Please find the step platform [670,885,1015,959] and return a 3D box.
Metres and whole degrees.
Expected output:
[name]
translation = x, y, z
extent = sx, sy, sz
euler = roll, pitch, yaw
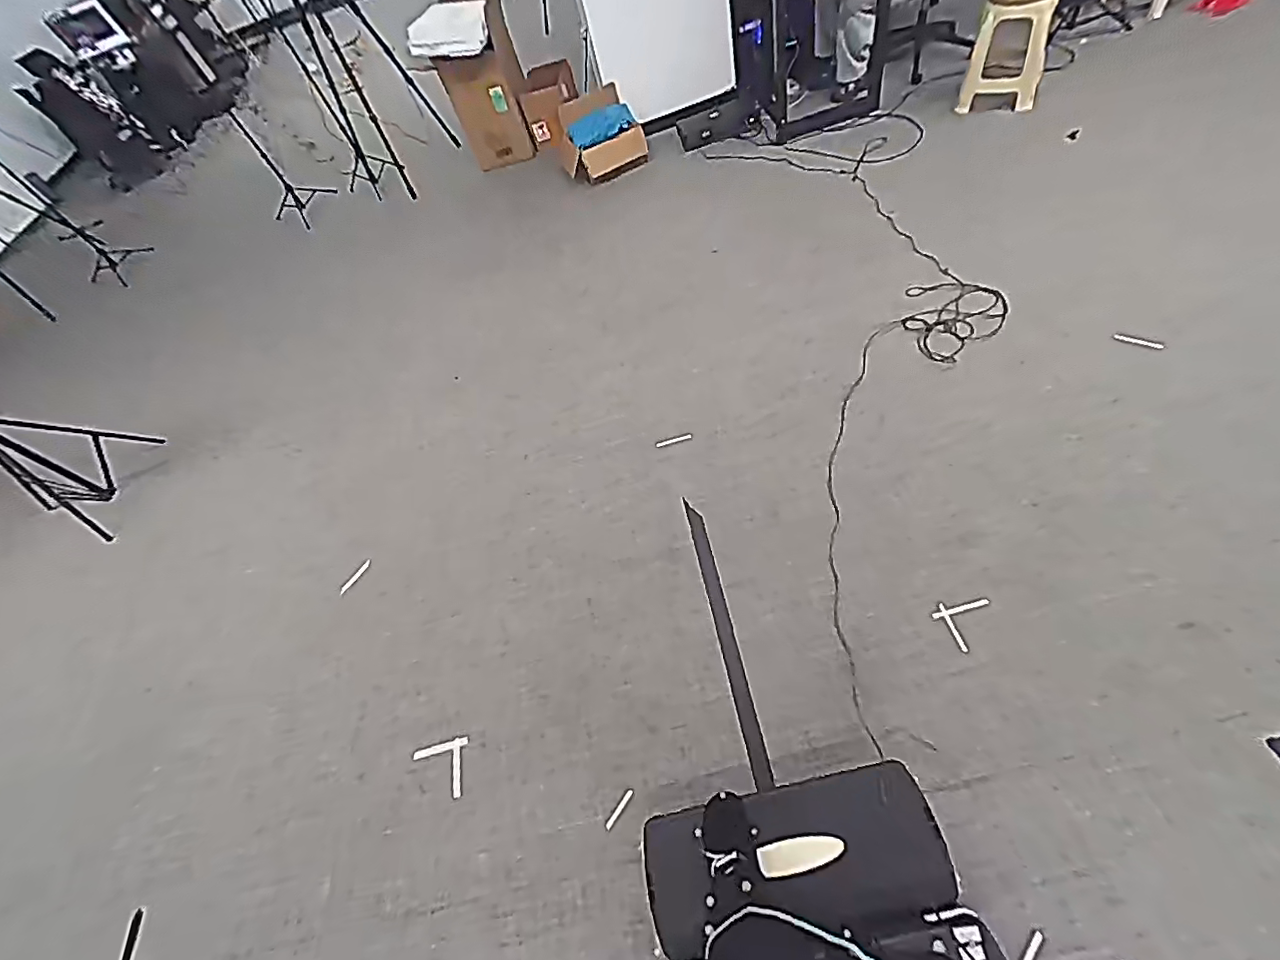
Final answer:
[step platform]
translation = 0.395, 1.037, 1.056
extent = 0.684, 0.204, 0.286
euler = -18, 53, 5
